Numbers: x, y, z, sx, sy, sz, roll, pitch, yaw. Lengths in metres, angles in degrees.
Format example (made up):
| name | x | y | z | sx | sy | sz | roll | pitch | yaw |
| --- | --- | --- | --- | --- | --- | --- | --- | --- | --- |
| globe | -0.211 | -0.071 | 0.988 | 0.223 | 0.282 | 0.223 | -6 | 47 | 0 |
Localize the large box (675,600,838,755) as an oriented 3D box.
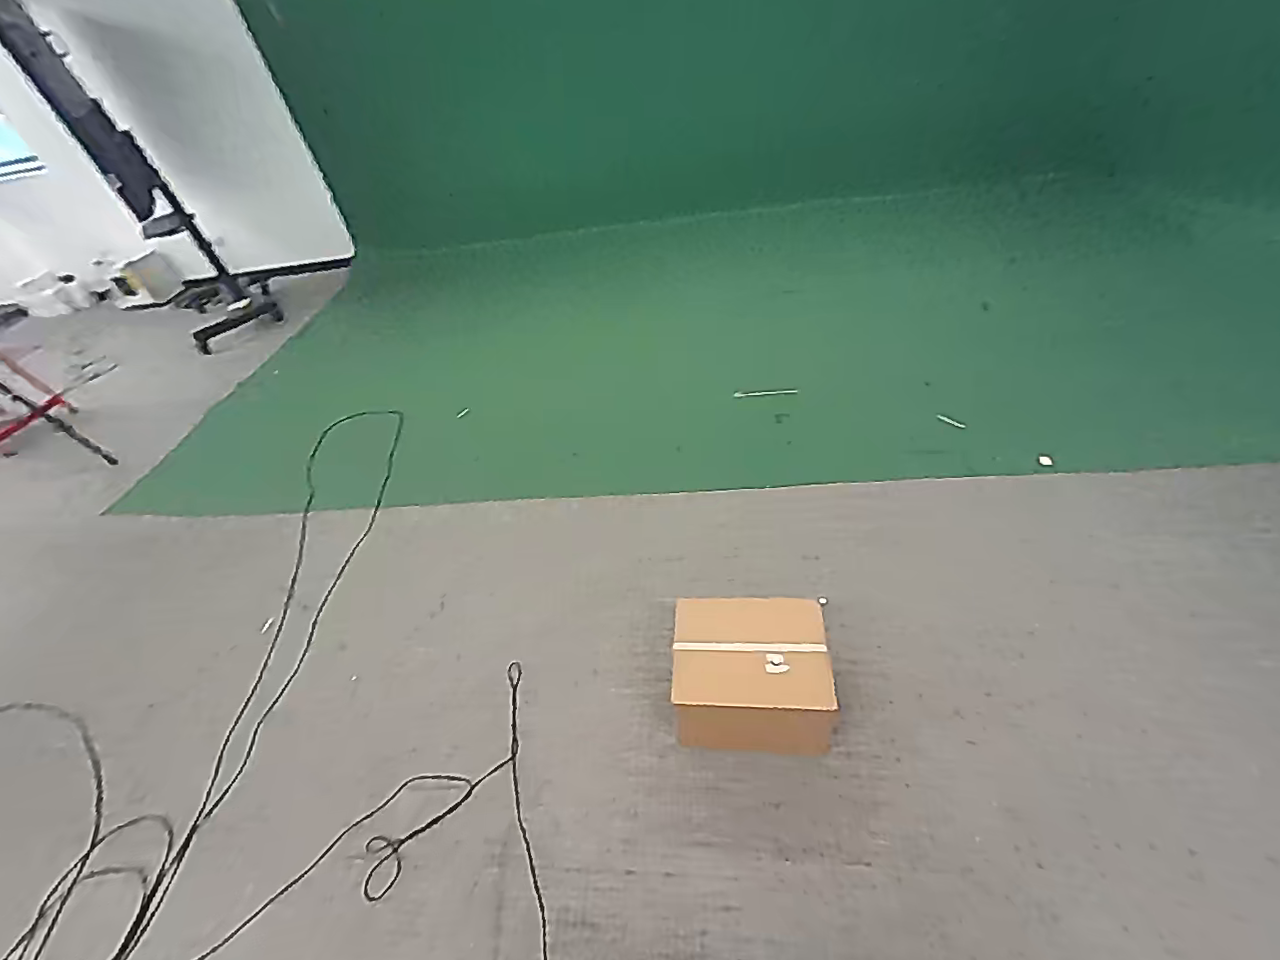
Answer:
| name | x | y | z | sx | sy | sz | roll | pitch | yaw |
| --- | --- | --- | --- | --- | --- | --- | --- | --- | --- |
| large box | 0.315 | 0.558 | 1.534 | 0.408 | 0.320 | 0.320 | -2 | 44 | 10 |
